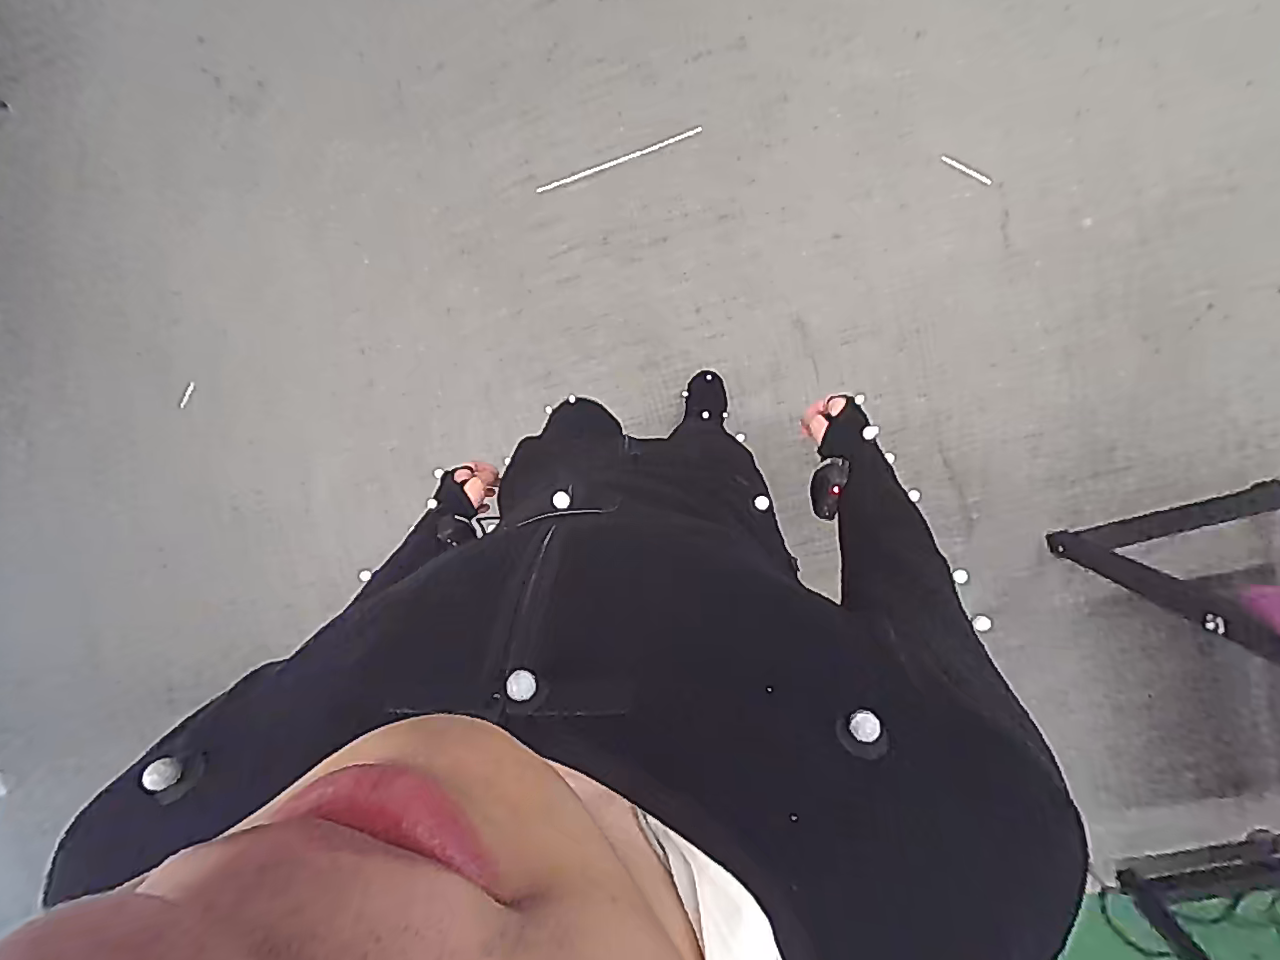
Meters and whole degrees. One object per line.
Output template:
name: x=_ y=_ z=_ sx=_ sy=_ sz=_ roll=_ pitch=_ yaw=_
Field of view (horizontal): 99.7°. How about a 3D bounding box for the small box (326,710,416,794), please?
small box: x=-0.869 y=0.881 z=1.762 sx=0.179 sy=0.176 sz=0.168 roll=-16 pitch=98 yaw=8
